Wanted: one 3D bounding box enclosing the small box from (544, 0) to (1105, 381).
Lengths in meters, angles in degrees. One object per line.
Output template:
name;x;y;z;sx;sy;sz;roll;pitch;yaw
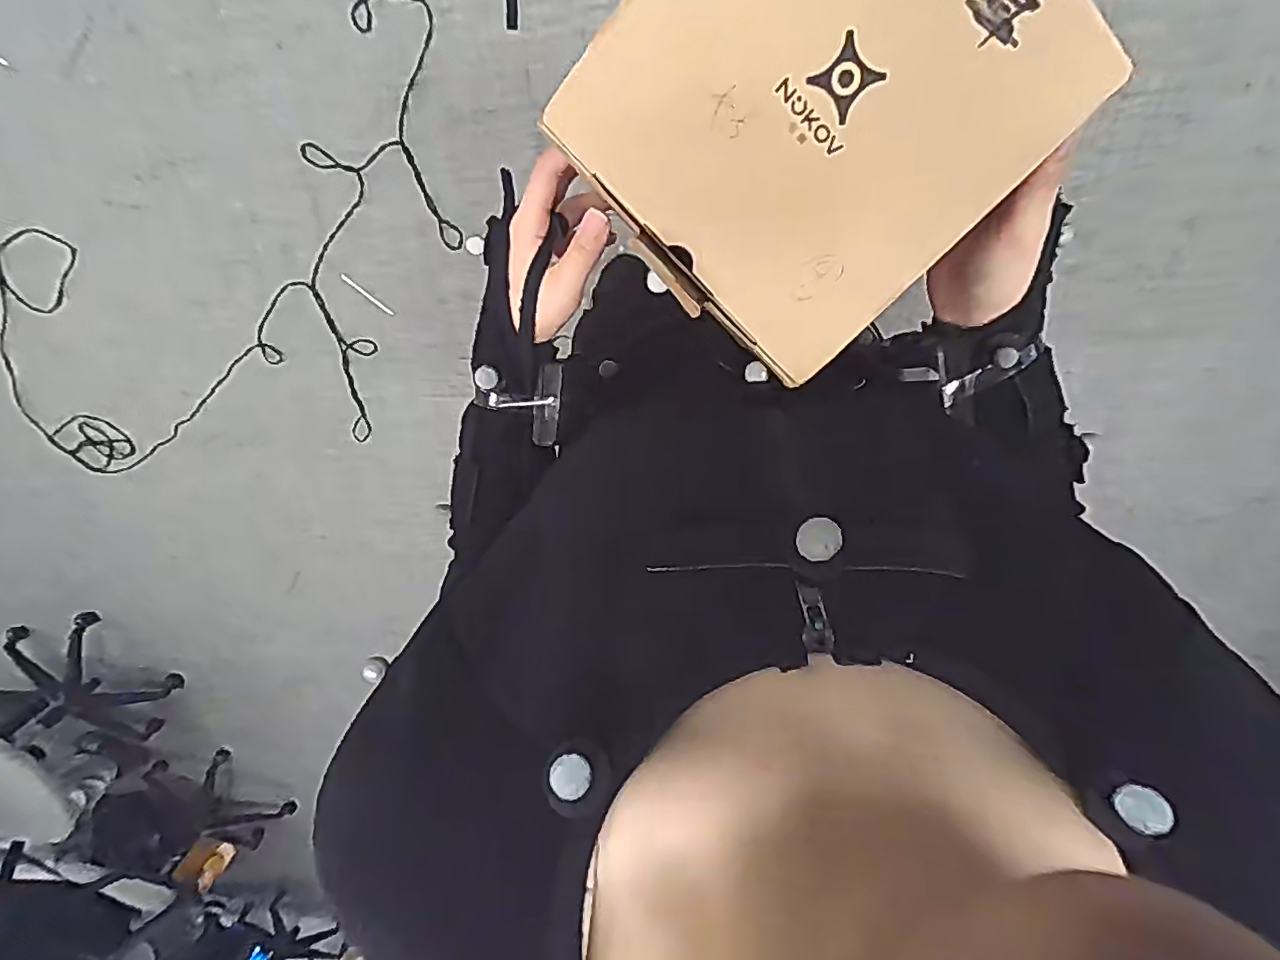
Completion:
small box;0.078;-0.185;0.302;0.168;0.176;0.179;42;108;-12
